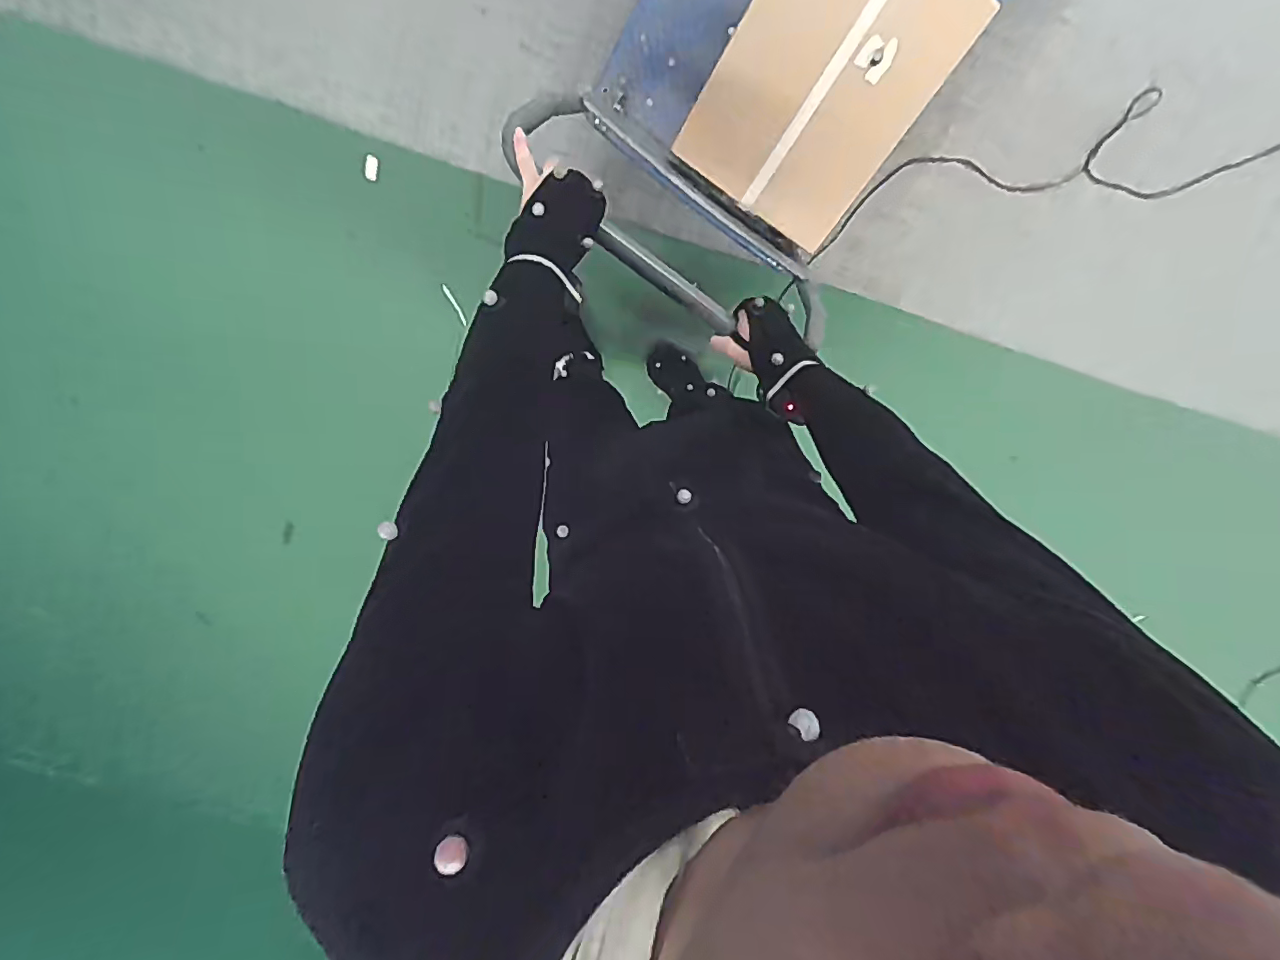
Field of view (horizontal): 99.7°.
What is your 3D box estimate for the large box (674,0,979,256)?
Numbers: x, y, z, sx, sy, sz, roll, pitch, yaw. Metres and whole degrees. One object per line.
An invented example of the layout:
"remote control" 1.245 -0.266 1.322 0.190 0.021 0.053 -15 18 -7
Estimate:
"large box" 0.300 -0.699 1.007 0.320 0.320 0.408 30 120 -12
